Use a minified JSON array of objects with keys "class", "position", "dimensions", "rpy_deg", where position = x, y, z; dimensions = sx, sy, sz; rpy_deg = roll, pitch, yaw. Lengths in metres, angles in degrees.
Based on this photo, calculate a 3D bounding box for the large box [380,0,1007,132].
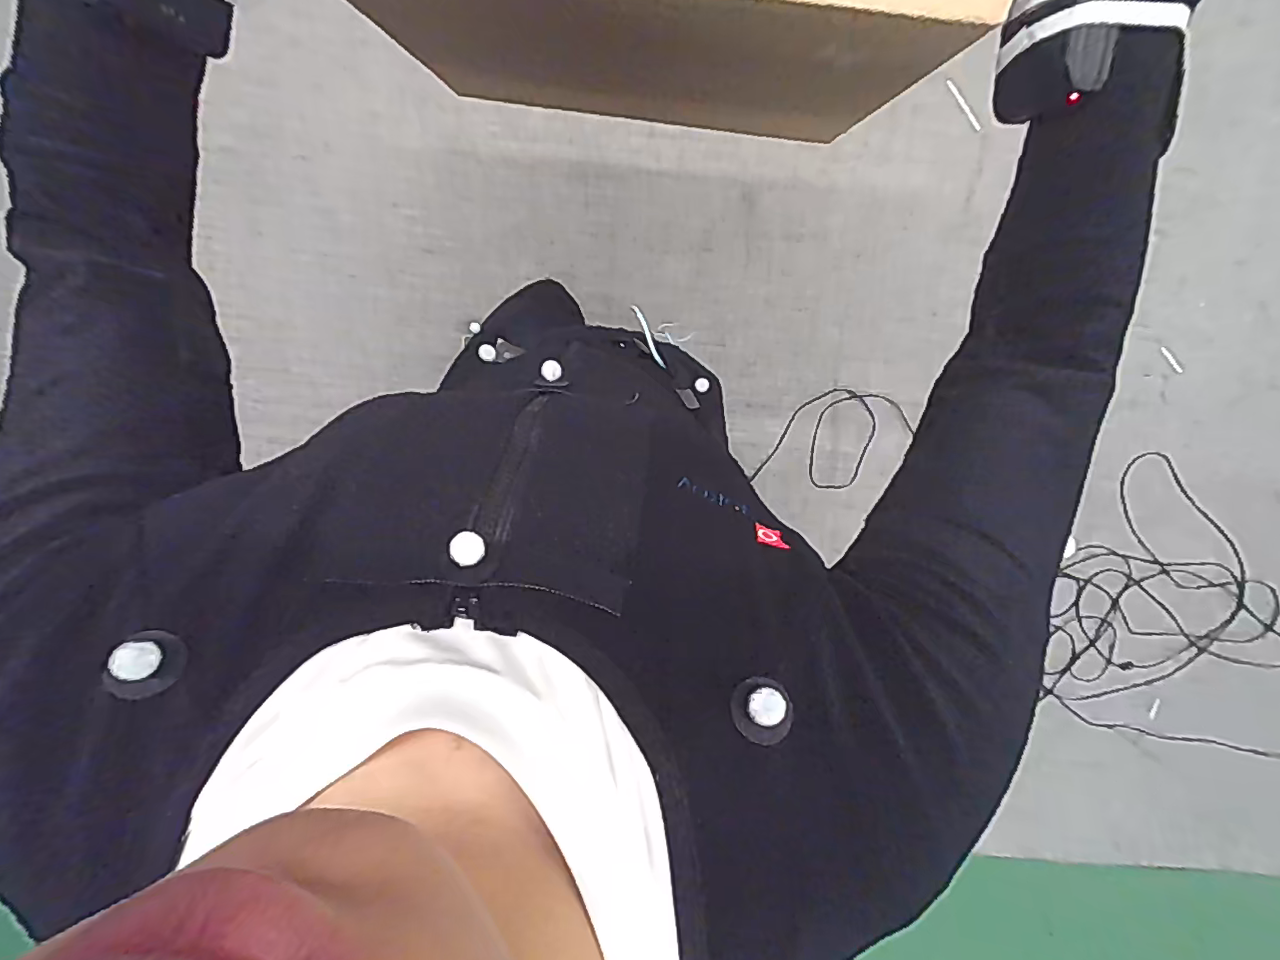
[{"class":"large box","position":[0.025,-0.476,0.382],"dimensions":[0.408,0.320,0.320],"rpy_deg":[6,112,-2]}]
